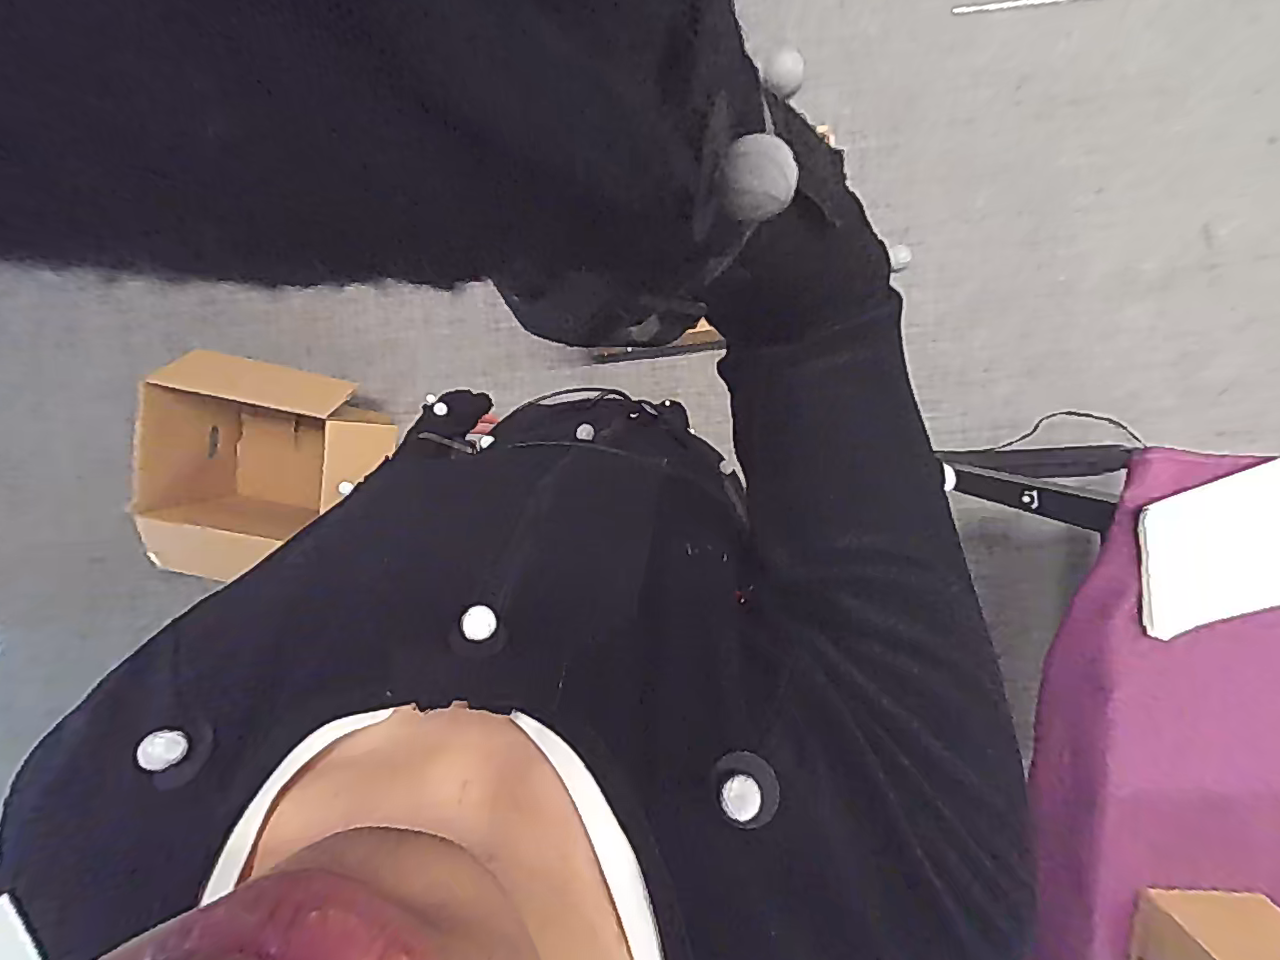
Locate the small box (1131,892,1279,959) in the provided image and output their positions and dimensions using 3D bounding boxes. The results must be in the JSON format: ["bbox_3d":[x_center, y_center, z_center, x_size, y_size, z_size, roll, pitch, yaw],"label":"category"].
[{"bbox_3d":[0.815,0.691,0.716,0.179,0.176,0.168,2,97,1],"label":"small box"}]
